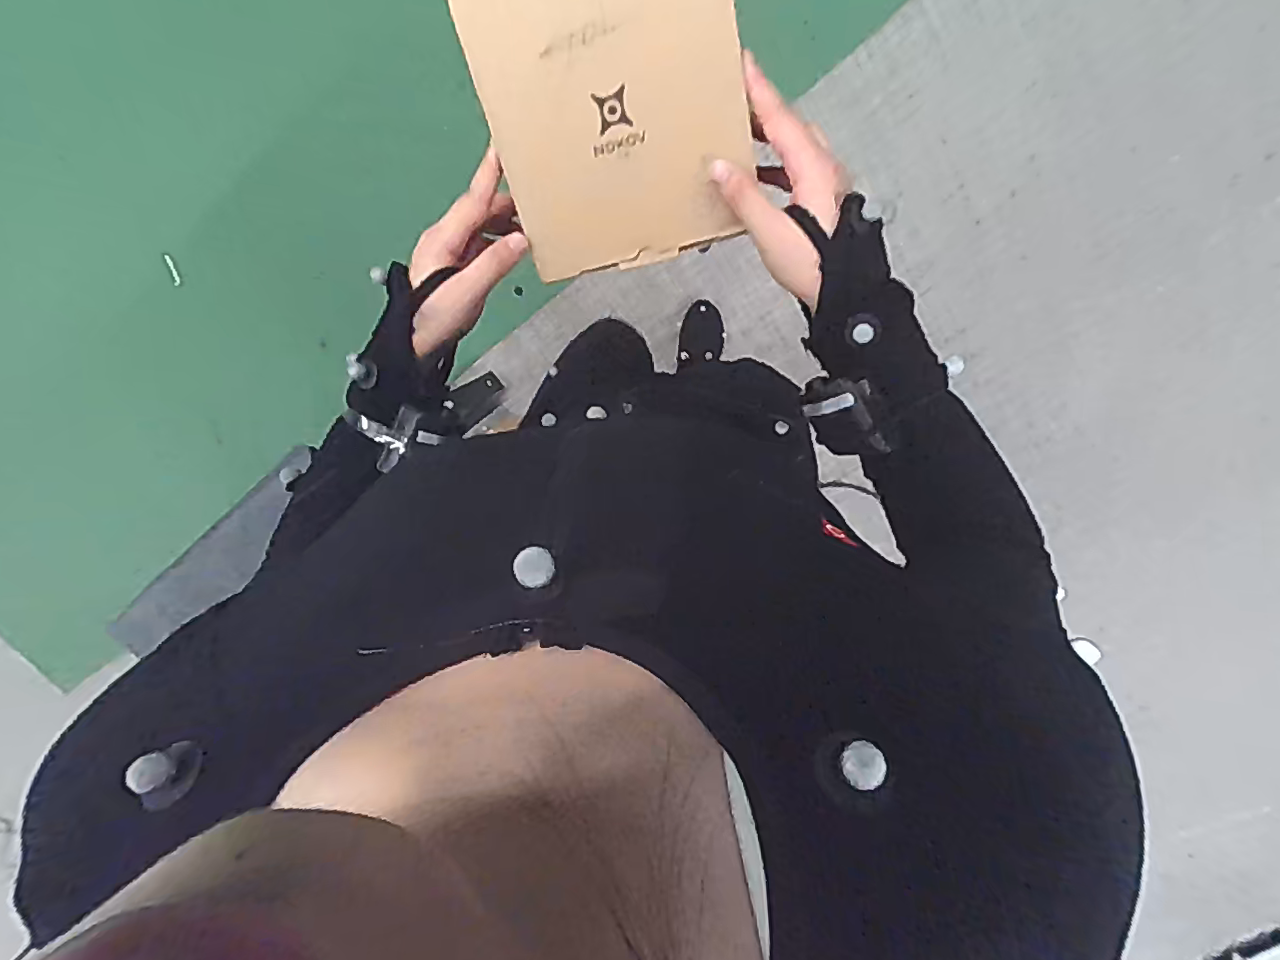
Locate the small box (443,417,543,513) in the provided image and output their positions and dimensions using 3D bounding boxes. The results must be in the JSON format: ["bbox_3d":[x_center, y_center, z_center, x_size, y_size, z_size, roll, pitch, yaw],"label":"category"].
[{"bbox_3d":[-0.386,-0.045,1.461,0.168,0.176,0.179,-28,105,16],"label":"small box"}]

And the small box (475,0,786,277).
[{"bbox_3d":[0.009,-0.273,0.401,0.168,0.176,0.179,-9,119,13],"label":"small box"}]
